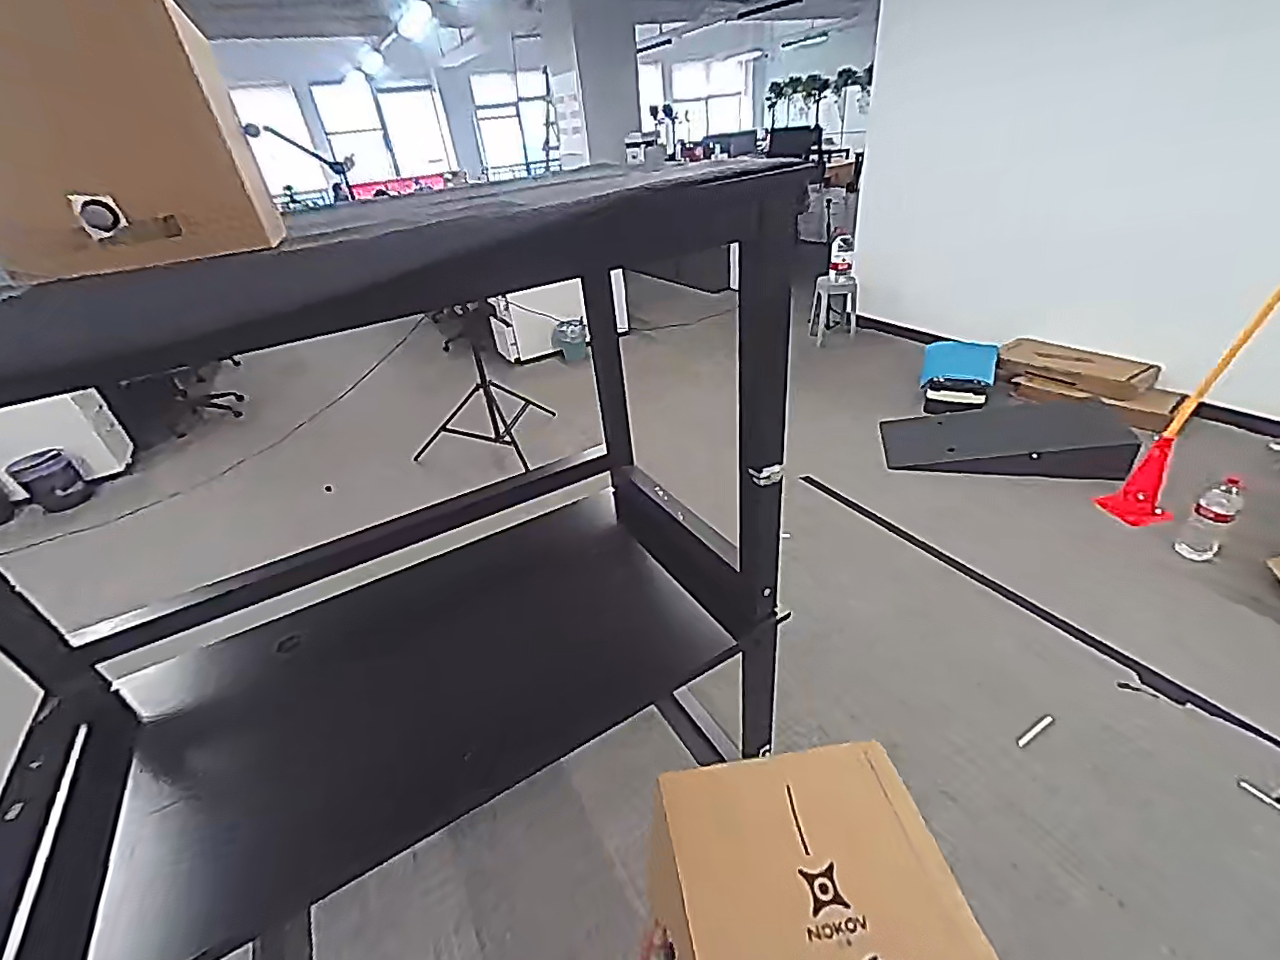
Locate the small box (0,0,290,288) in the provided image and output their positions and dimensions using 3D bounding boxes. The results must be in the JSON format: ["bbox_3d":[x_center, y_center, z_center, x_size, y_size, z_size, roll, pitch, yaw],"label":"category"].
[{"bbox_3d":[-0.404,-0.259,0.427,0.168,0.176,0.179,-21,34,-20],"label":"small box"}]

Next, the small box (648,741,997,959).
[{"bbox_3d":[0.102,0.305,0.353,0.168,0.176,0.179,-3,38,-10],"label":"small box"}]
